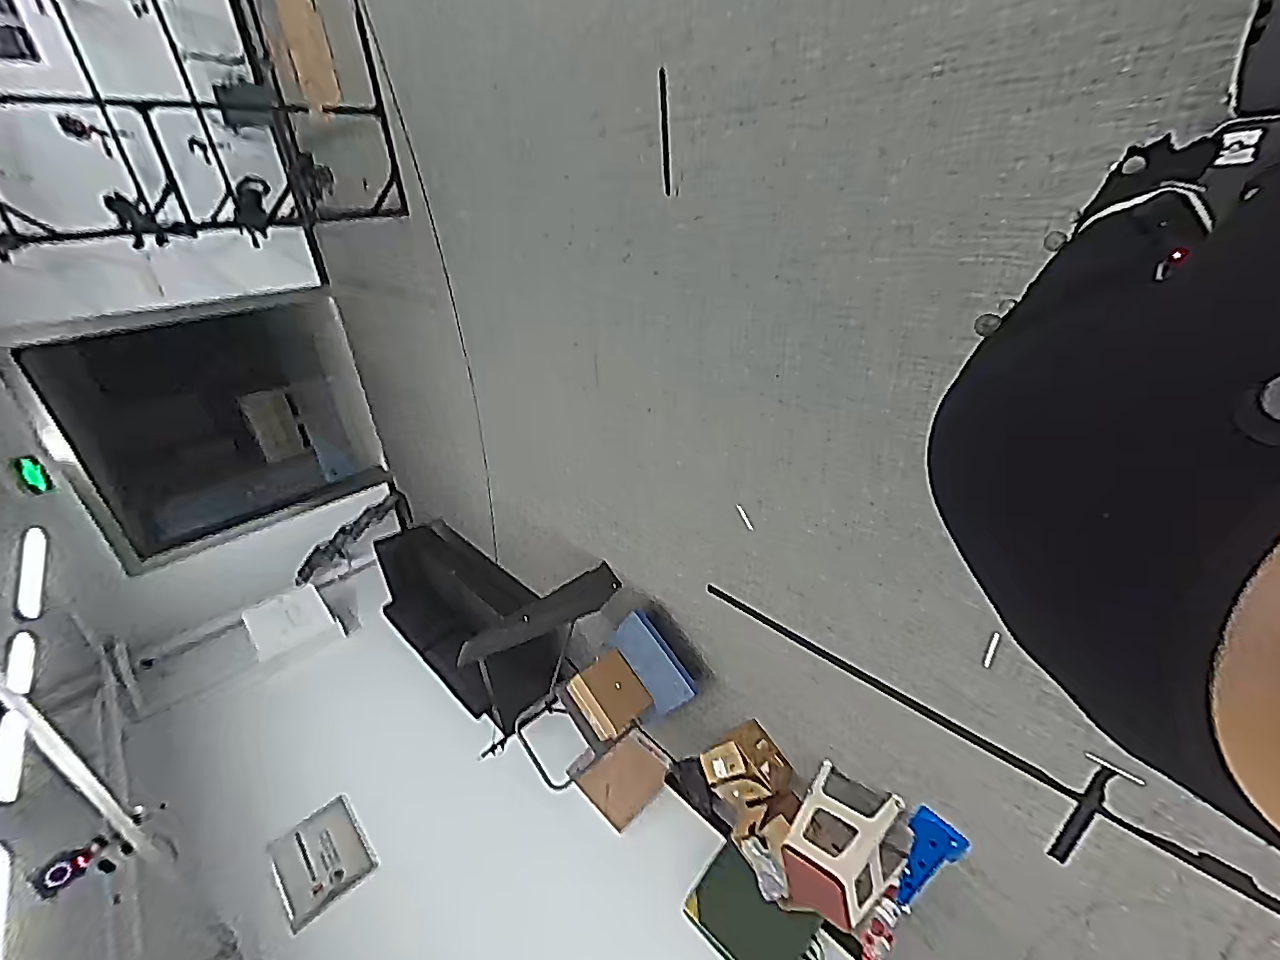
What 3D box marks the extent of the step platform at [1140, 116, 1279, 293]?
[{"bbox_3d":[1.272,-0.448,0.865,0.684,0.204,0.286,23,129,43],"label":"step platform"}]
